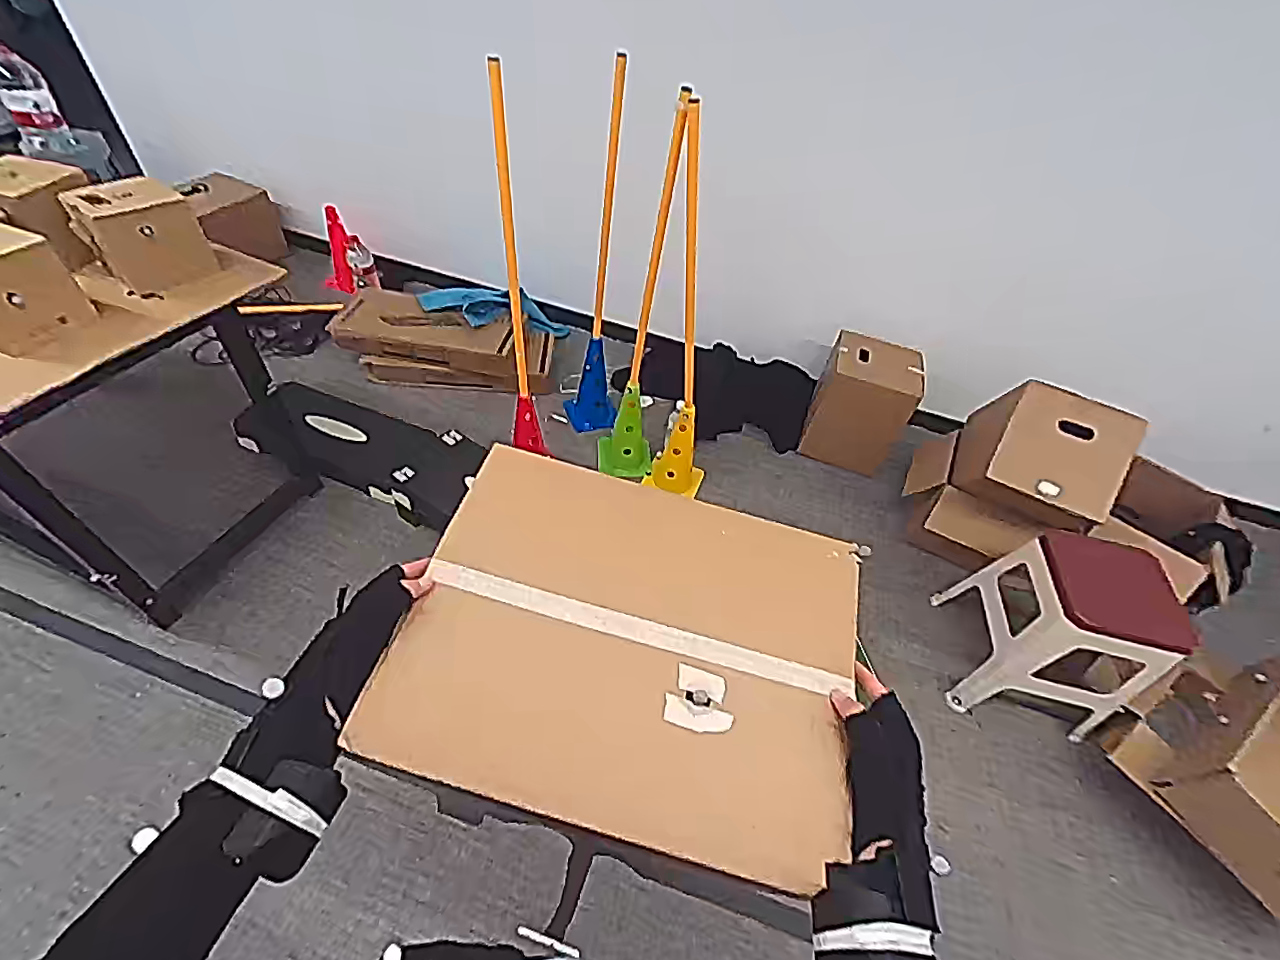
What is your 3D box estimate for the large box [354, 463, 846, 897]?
[{"bbox_3d":[-0.025,0.233,0.627,0.408,0.320,0.320,16,56,2],"label":"large box"}]
